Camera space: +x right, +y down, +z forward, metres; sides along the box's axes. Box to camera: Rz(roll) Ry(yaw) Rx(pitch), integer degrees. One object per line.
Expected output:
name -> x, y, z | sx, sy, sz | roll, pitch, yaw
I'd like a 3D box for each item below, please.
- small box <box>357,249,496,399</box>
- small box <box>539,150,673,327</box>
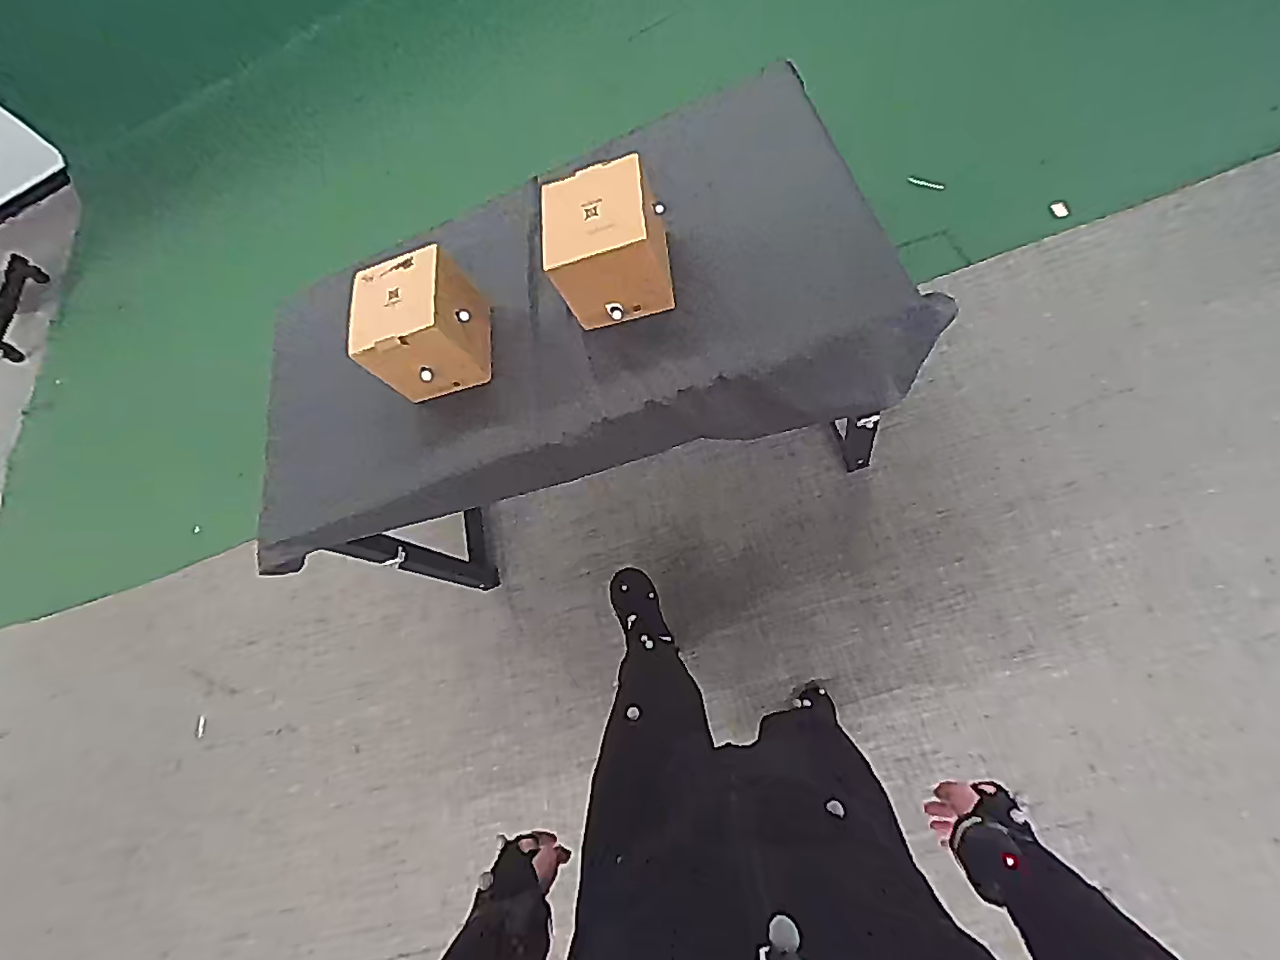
small box -> -0.373, -0.263, 0.964 | 0.168, 0.176, 0.179 | -16, 66, 13
small box -> -0.050, -0.383, 0.881 | 0.168, 0.176, 0.179 | -10, 68, 17
